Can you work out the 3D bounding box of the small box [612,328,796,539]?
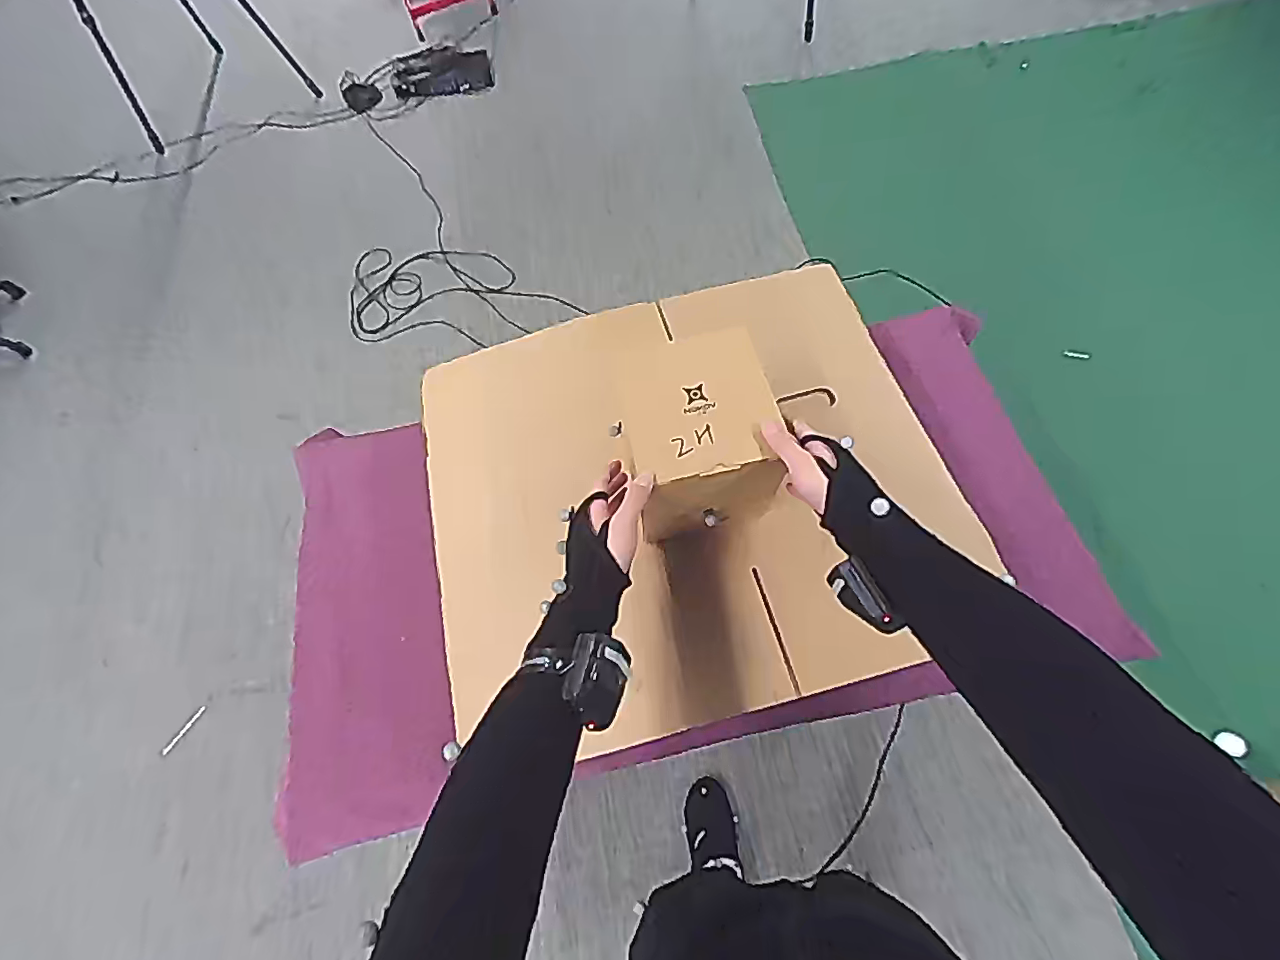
[{"bbox_3d":[0.064,-0.049,0.651,0.168,0.176,0.179,-12,65,-4],"label":"small box"}]
